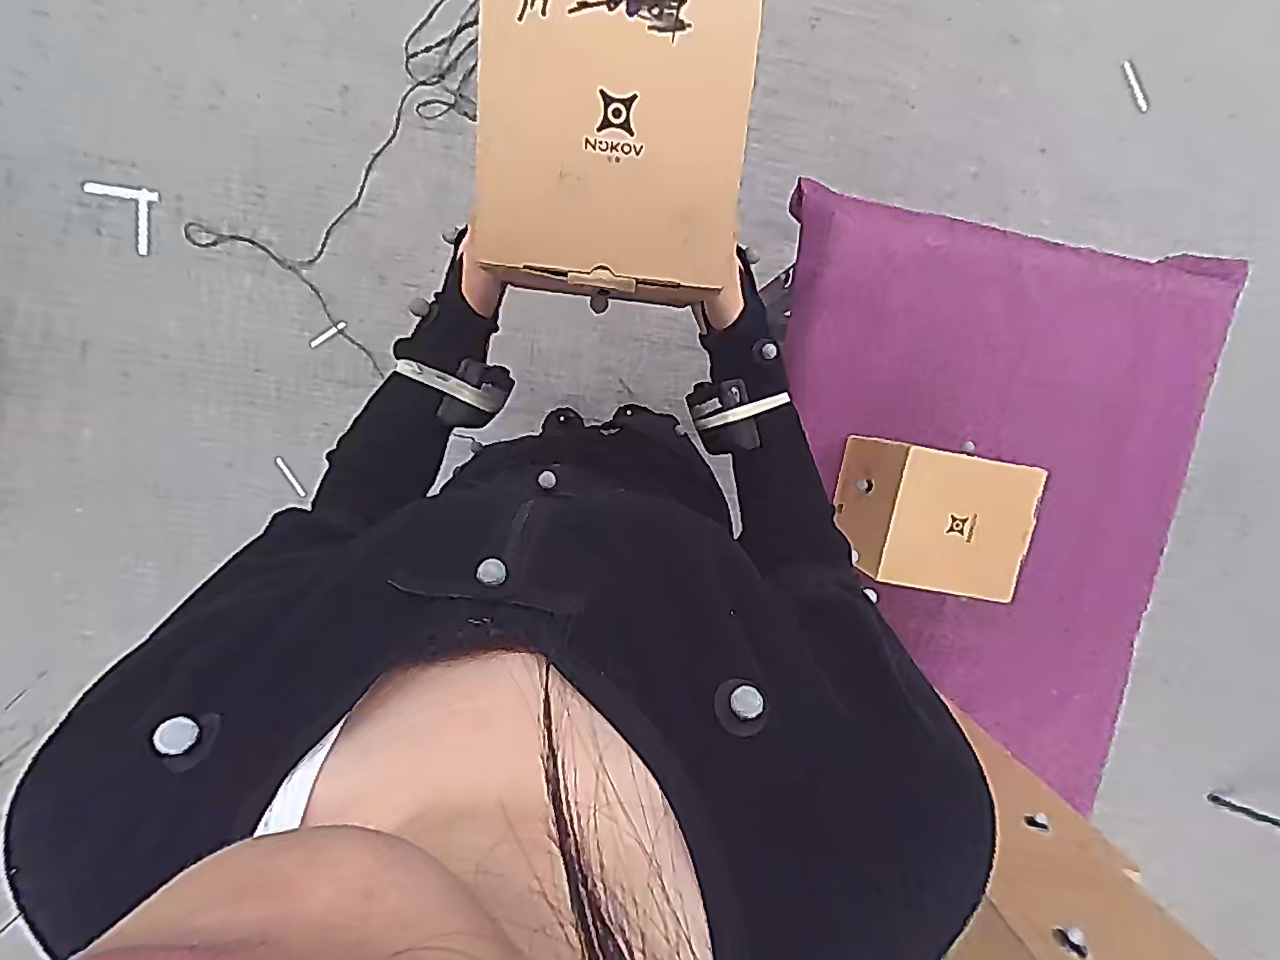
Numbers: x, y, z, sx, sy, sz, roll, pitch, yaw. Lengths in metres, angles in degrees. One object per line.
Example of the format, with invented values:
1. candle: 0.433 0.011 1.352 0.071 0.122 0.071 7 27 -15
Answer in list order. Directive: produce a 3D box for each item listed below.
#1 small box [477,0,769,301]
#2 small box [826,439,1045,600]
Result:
1. small box: -0.020 -0.234 0.405 0.168 0.176 0.179 4 105 -7
2. small box: 0.371 0.041 0.716 0.179 0.176 0.168 10 97 -6
